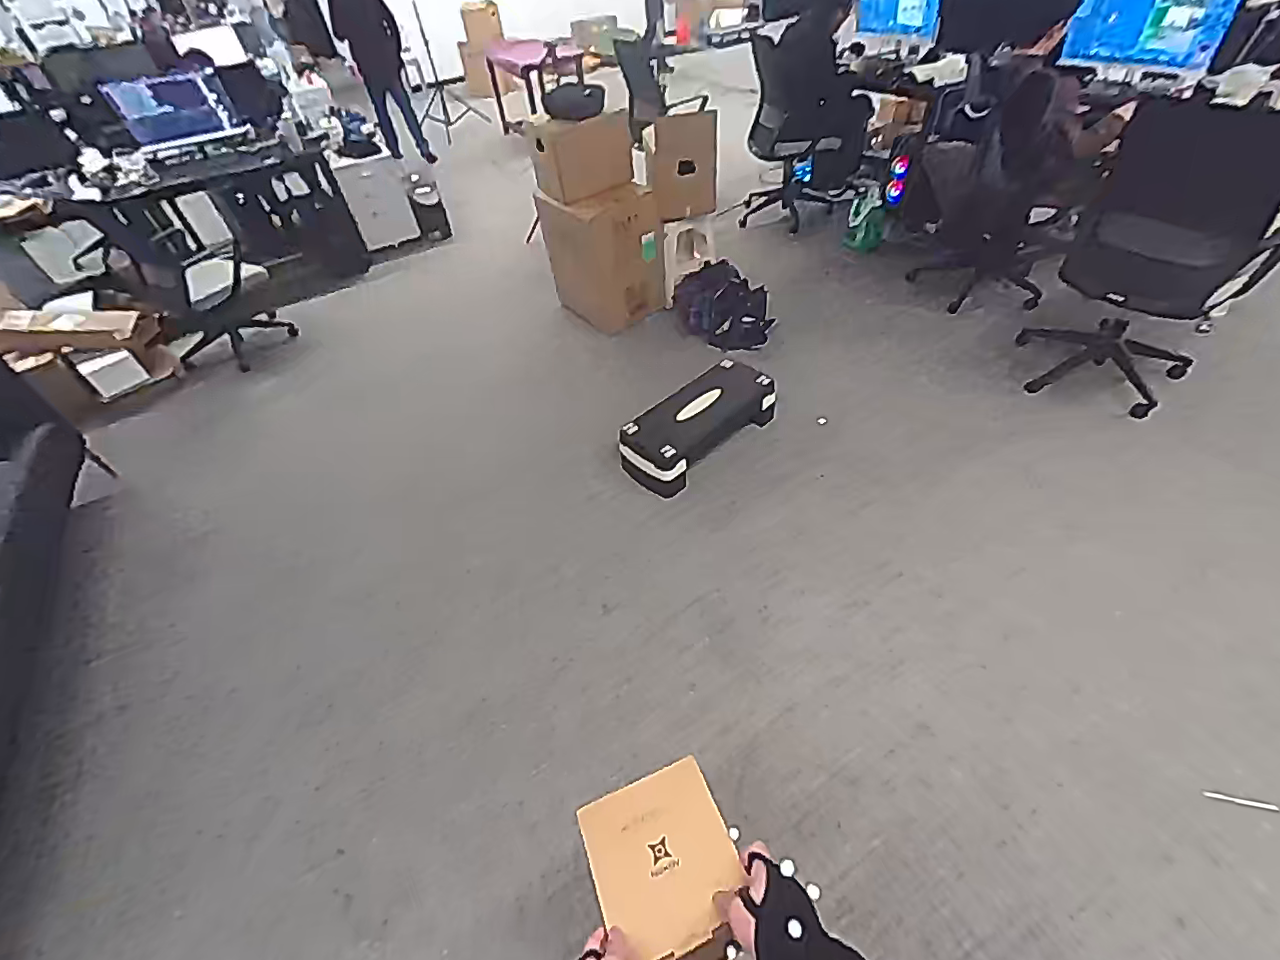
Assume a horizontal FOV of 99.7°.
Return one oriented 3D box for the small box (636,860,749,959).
[{"bbox_3d":[0.107,0.943,1.126,0.168,0.176,0.179,-26,49,-16],"label":"small box"}]
